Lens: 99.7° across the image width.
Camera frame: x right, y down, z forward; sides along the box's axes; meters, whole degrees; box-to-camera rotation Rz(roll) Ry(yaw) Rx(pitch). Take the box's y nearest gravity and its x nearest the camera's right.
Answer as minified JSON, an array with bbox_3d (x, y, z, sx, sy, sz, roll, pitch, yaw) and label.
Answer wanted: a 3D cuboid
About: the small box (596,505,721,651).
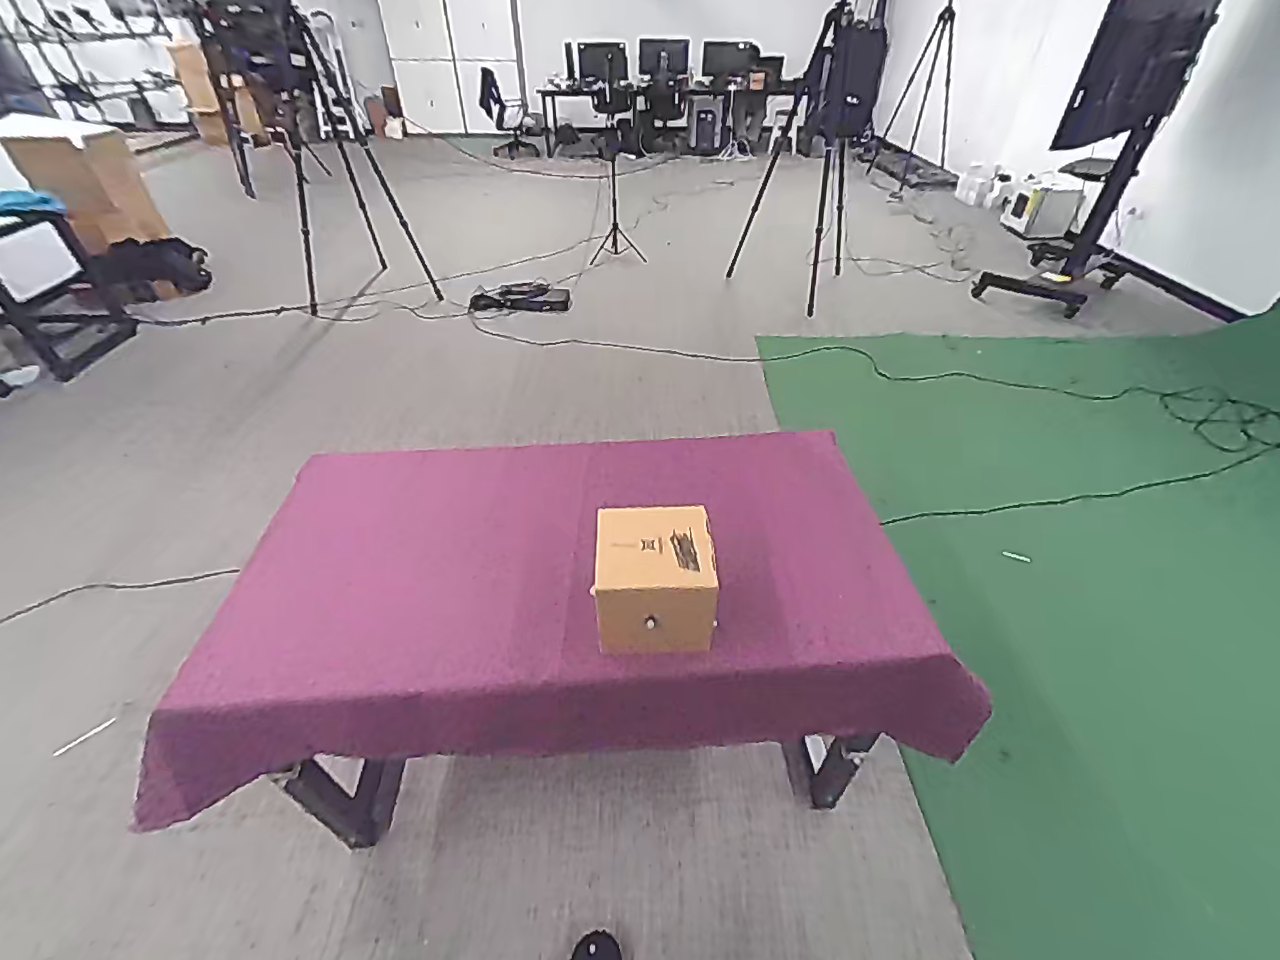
[{"bbox_3d":[0.026,0.157,0.862,0.179,0.176,0.168,-2,41,0],"label":"small box"}]
